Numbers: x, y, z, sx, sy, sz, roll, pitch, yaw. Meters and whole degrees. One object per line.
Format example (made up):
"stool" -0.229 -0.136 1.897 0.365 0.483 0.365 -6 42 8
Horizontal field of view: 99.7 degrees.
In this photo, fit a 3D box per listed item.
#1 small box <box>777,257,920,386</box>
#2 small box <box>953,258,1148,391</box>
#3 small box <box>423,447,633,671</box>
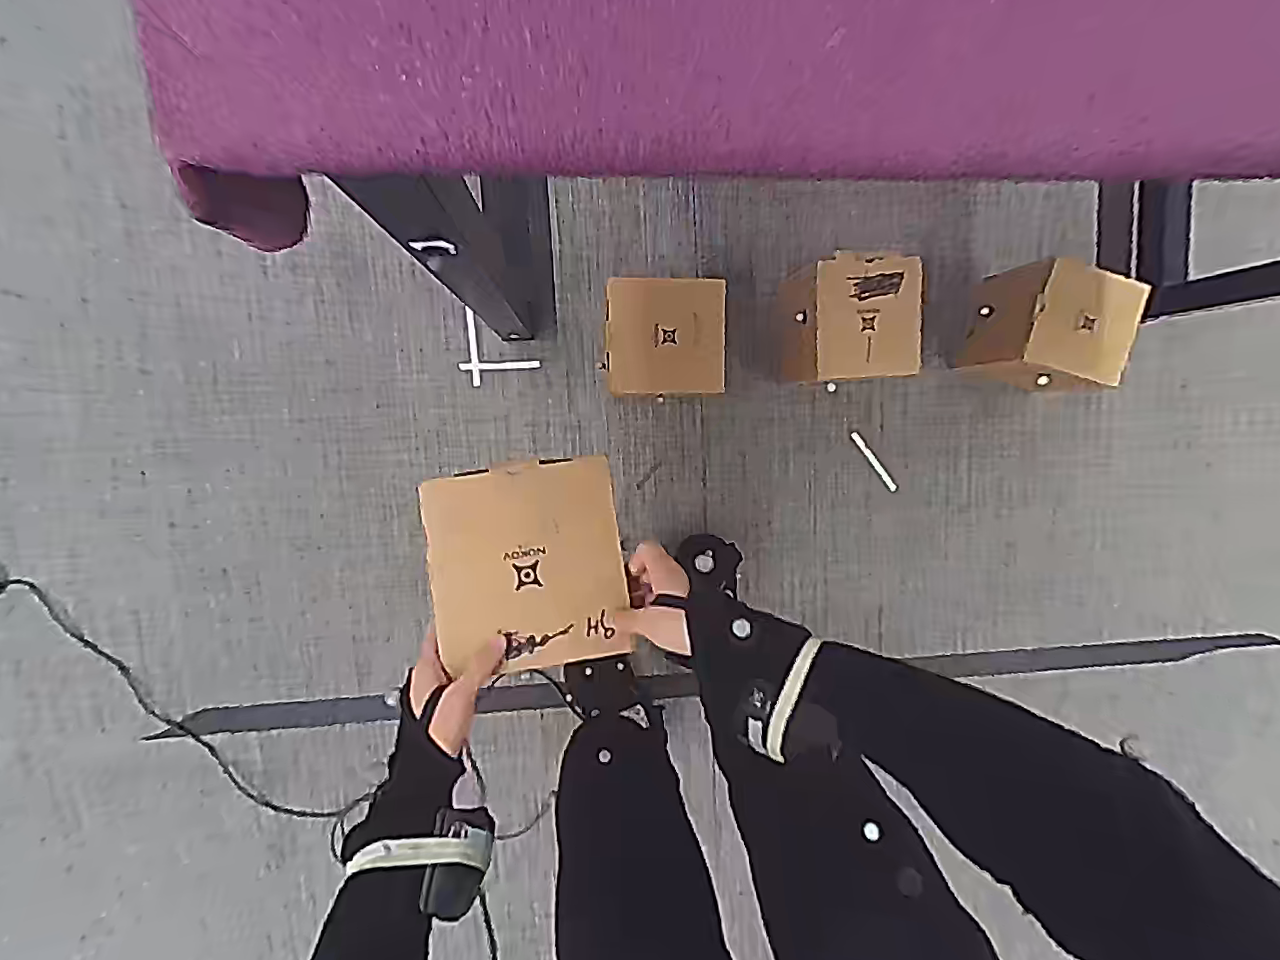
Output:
"small box" 0.330 -0.250 0.885 0.168 0.176 0.179 -4 98 -5
"small box" 0.685 -0.253 0.922 0.179 0.176 0.168 14 95 -6
"small box" -0.103 0.075 0.546 0.168 0.176 0.179 -8 84 -4
